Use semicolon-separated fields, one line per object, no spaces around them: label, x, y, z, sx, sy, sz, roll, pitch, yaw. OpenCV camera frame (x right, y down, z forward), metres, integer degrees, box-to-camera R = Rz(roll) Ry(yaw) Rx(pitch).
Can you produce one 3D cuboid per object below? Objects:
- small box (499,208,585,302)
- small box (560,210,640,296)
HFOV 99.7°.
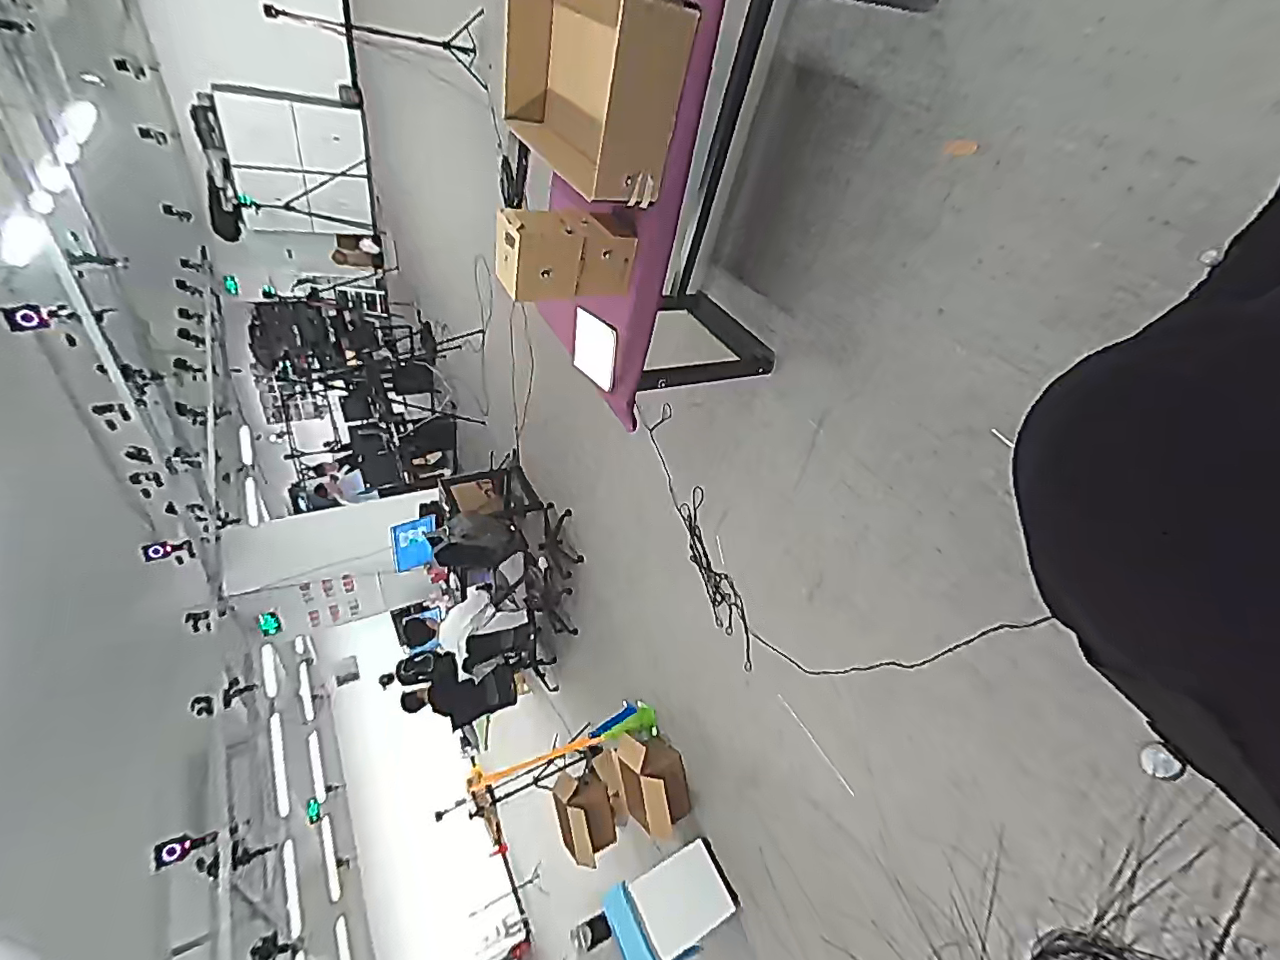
small box;-0.255;-0.584;1.409;0.168;0.176;0.179;56;144;35
small box;-0.119;-0.626;1.490;0.179;0.176;0.168;56;144;35
